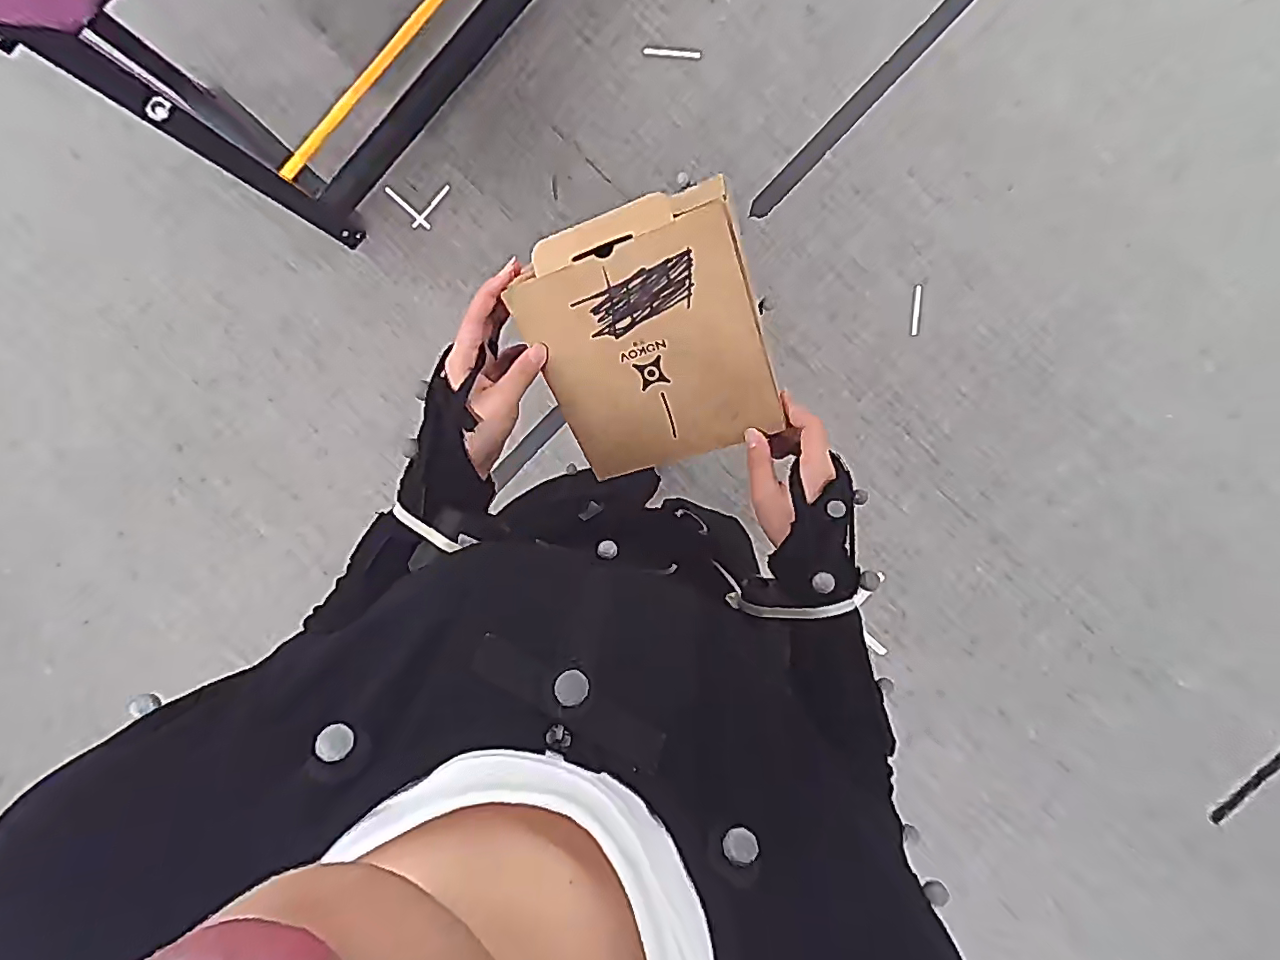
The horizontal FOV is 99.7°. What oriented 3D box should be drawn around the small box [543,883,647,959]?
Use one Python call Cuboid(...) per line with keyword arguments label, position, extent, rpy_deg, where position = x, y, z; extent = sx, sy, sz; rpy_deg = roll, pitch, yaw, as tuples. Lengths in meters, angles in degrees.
Cuboid(label="small box", position=(-0.101, 1.030, 1.171), extent=(0.179, 0.176, 0.168), rpy_deg=(36, 94, 0))
